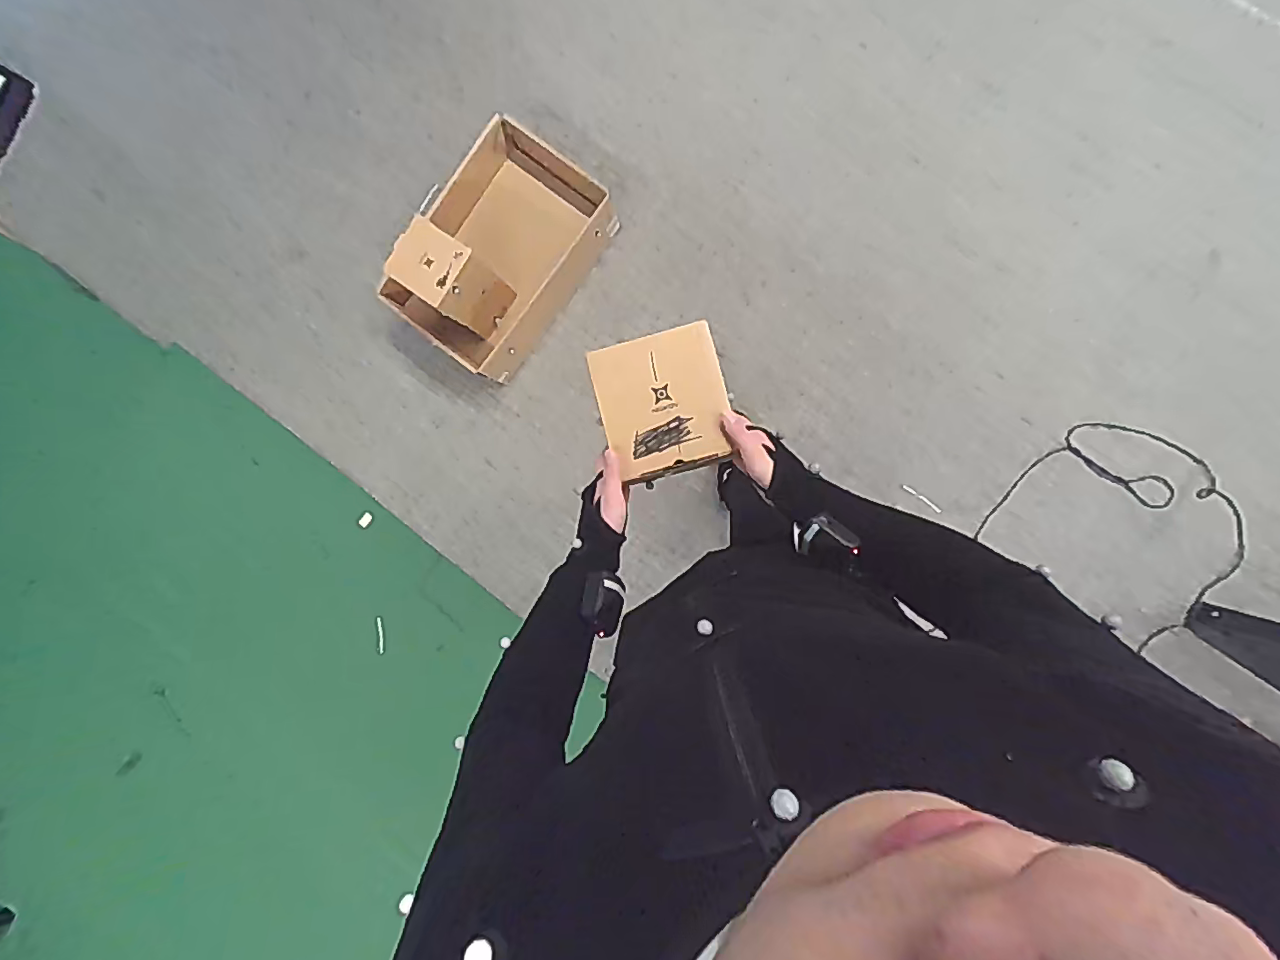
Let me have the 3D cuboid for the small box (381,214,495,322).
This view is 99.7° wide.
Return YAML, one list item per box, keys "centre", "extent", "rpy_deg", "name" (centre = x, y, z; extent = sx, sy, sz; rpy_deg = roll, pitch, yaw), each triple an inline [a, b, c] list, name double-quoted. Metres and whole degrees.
- centre: [-0.508, -0.531, 1.381]
  extent: [0.179, 0.176, 0.168]
  rpy_deg: [35, 96, 5]
  name: "small box"

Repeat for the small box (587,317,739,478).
- centre: [0.035, -0.103, 0.770]
  extent: [0.168, 0.176, 0.179]
  rpy_deg: [-15, 86, 3]
  name: "small box"
